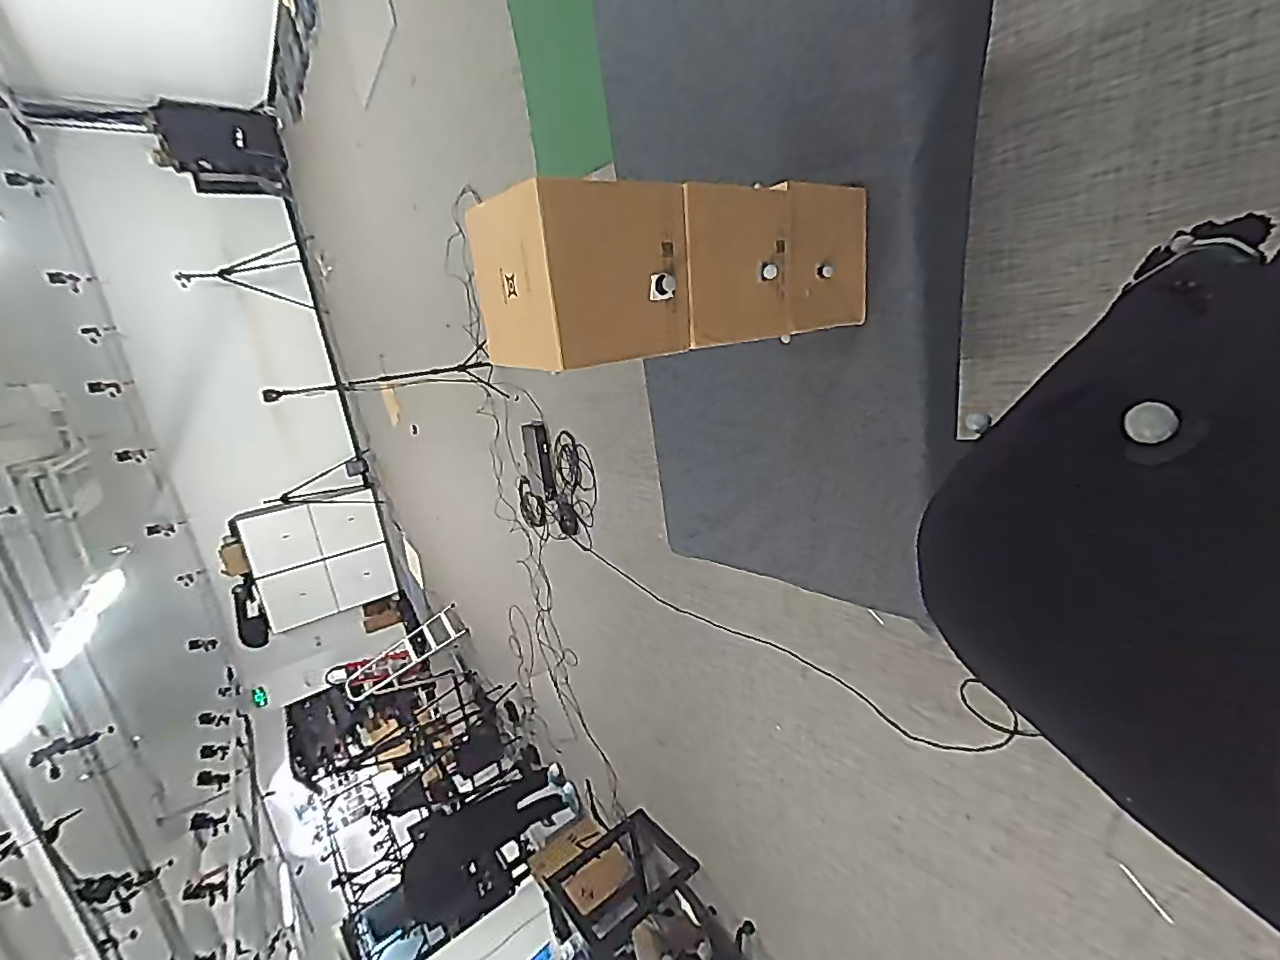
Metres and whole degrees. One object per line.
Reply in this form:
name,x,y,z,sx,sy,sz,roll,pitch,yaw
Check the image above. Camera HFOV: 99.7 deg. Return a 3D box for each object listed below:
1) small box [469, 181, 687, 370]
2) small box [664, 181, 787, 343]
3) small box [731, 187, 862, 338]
small box,-0.066,-0.221,0.602,0.179,0.176,0.168,18,121,50
small box,0.064,-0.263,0.687,0.179,0.176,0.168,16,118,54
small box,0.199,-0.305,0.773,0.168,0.176,0.179,15,118,52
